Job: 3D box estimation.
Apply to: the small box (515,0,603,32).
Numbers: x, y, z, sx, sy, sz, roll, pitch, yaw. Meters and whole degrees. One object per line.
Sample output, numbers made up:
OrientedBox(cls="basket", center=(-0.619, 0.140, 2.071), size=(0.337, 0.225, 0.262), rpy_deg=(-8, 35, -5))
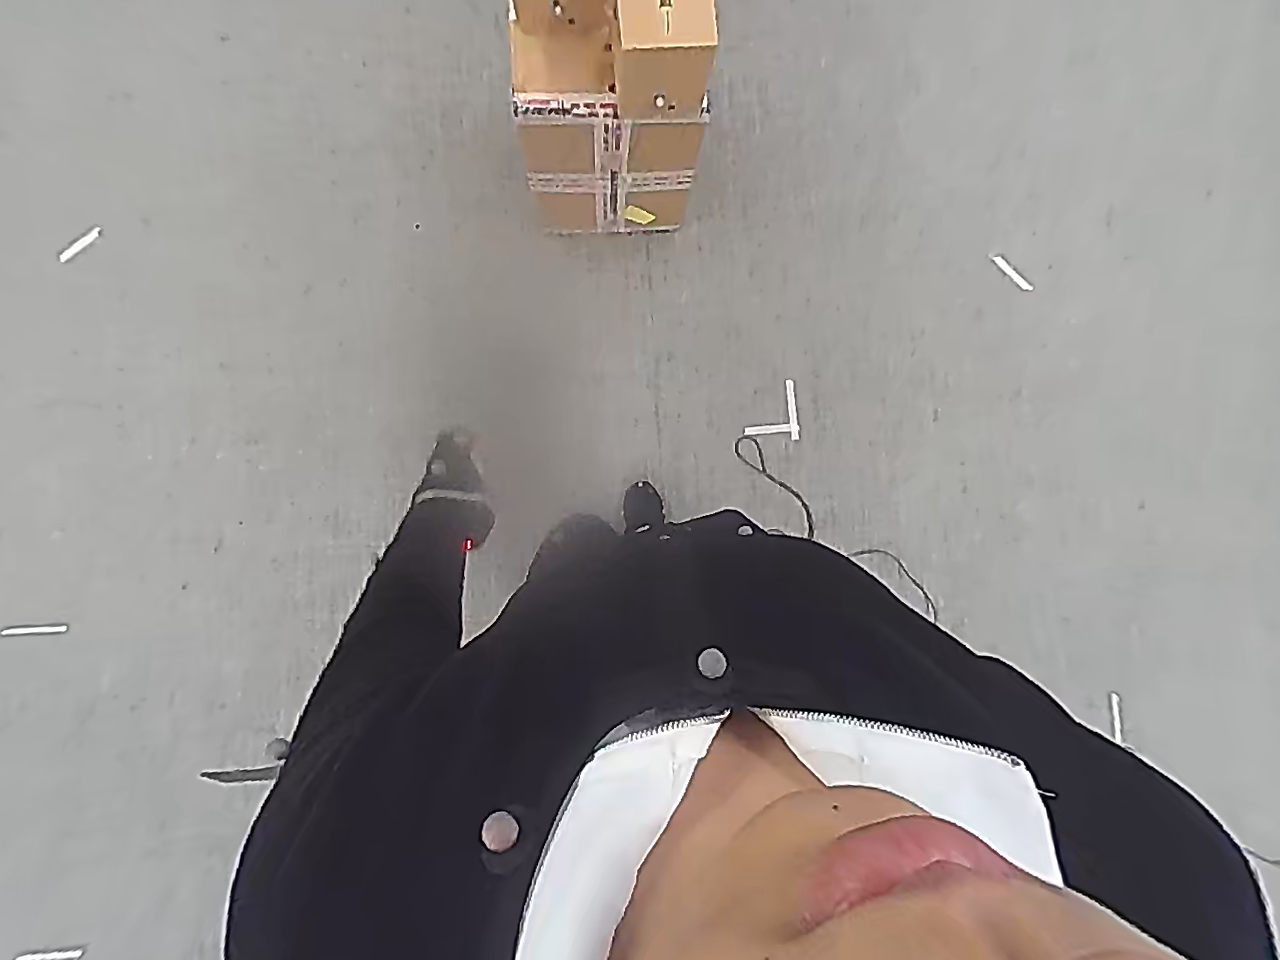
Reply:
OrientedBox(cls="small box", center=(-0.154, -0.964, 0.977), size=(0.168, 0.176, 0.179), rpy_deg=(-3, 90, -2))

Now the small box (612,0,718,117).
OrientedBox(cls="small box", center=(0.039, -0.803, 0.984), size=(0.168, 0.176, 0.179), rpy_deg=(-5, 90, -4))
